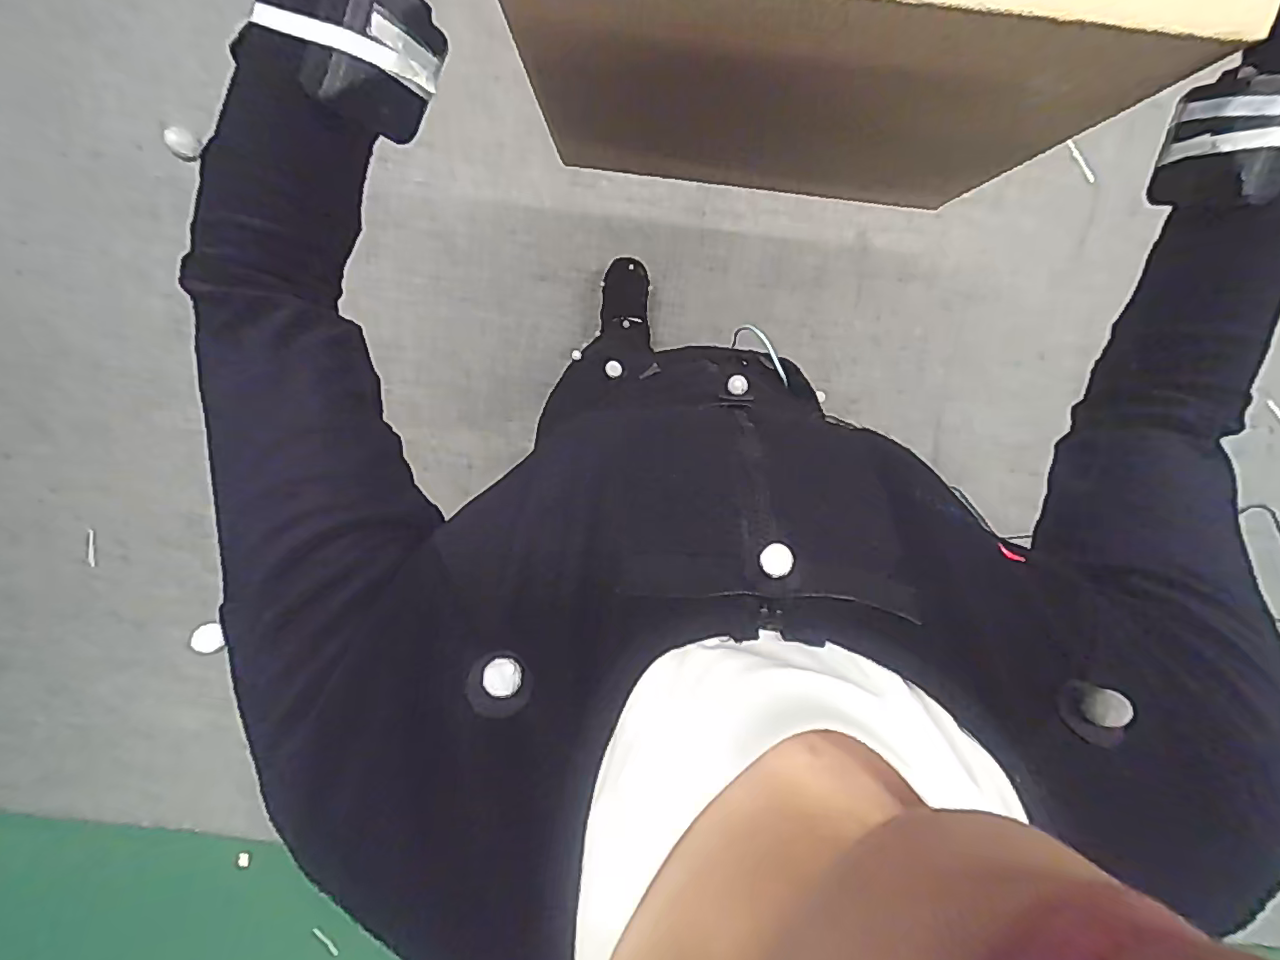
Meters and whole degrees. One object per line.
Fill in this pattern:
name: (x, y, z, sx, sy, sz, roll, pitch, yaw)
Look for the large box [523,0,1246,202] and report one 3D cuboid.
large box: (0.134, -0.432, 0.403, 0.408, 0.320, 0.320, 5, 102, -2)
